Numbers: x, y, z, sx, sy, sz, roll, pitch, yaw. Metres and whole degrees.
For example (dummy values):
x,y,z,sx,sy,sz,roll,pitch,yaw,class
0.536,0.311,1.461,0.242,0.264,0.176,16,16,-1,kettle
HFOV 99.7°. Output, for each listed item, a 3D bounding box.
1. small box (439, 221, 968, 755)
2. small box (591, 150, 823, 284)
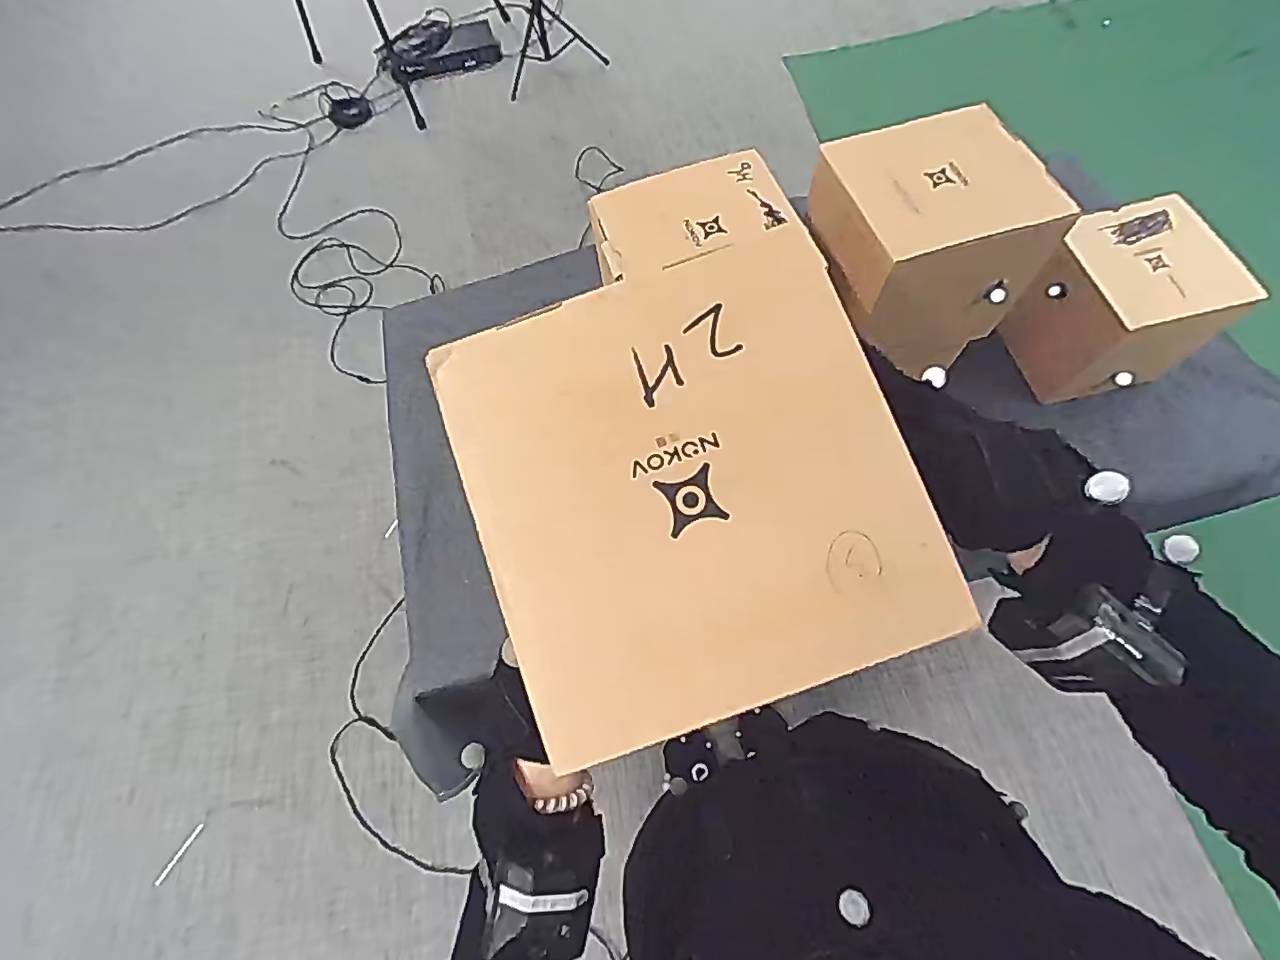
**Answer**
x,y,z,sx,sy,sz,roll,pitch,yaw,class
0.024,0.009,0.292,0.168,0.176,0.179,-20,80,0,small box
0.065,-0.199,0.574,0.179,0.176,0.168,-19,67,-2,small box
